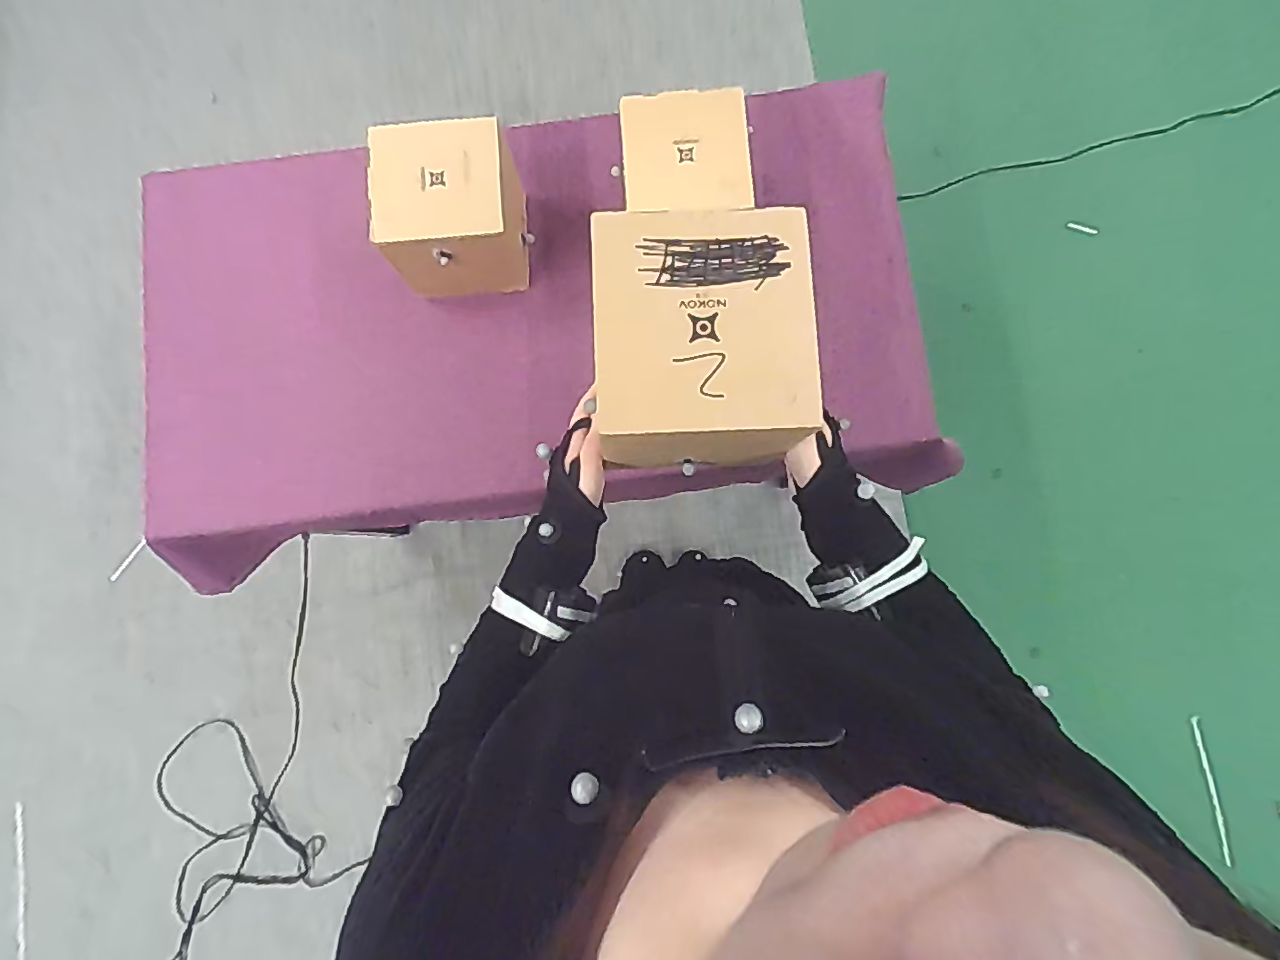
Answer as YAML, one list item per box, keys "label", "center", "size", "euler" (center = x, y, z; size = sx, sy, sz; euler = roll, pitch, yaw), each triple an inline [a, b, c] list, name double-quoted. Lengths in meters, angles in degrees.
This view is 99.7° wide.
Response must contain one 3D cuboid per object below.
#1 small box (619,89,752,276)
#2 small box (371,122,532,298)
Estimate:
- label: "small box"
  center: [0.062, -0.413, 0.782]
  size: [0.168, 0.176, 0.179]
  euler: [-4, 82, 2]
- label: "small box"
  center: [-0.265, -0.379, 0.788]
  size: [0.179, 0.176, 0.168]
  euler: [-4, 83, 0]
